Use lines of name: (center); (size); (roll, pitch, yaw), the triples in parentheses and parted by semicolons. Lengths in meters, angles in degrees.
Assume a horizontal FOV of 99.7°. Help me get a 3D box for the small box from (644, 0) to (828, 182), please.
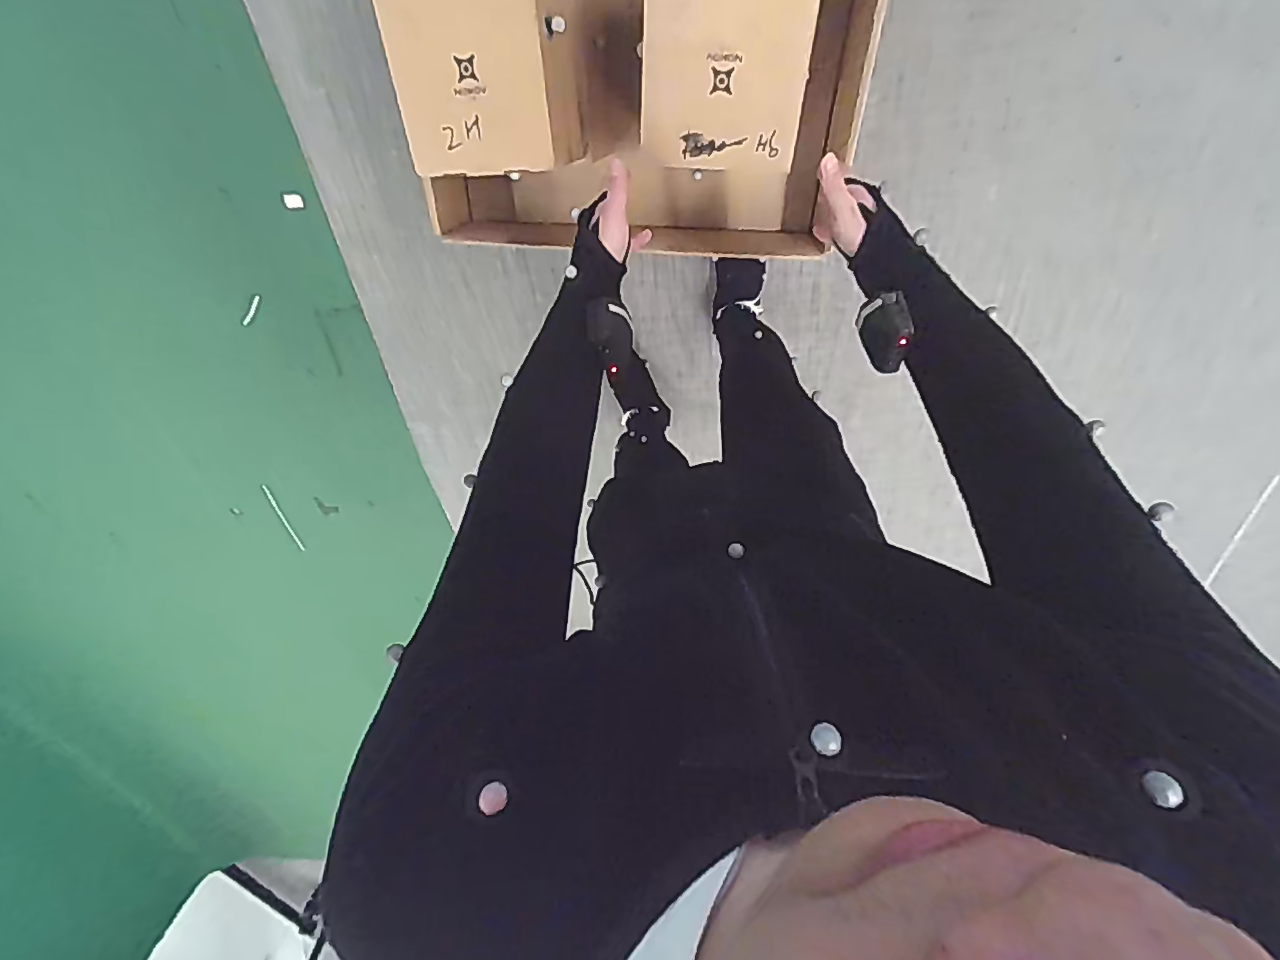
small box: (0.096, -0.447, 0.601); (0.168, 0.176, 0.179); (6, 127, 3)

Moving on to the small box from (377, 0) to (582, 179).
small box: (-0.167, -0.457, 0.622); (0.168, 0.176, 0.179); (2, 126, 6)

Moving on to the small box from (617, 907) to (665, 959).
small box: (0.008, 1.761, 2.053); (0.168, 0.176, 0.179); (0, 125, 6)
